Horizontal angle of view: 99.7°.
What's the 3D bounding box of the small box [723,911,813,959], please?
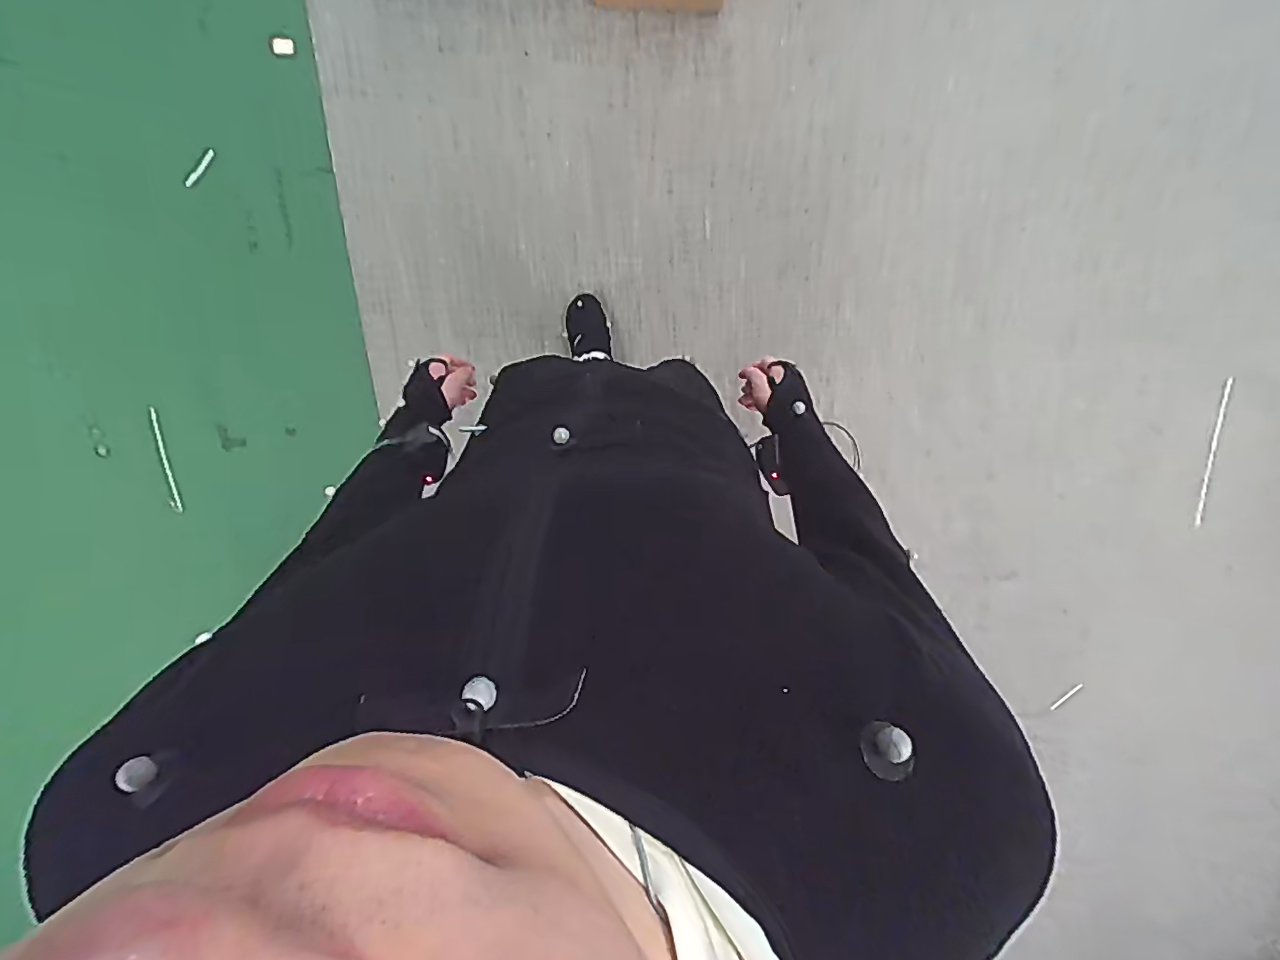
[{"bbox_3d":[0.267,1.019,1.098,0.168,0.176,0.179,-8,107,0],"label":"small box"}]
